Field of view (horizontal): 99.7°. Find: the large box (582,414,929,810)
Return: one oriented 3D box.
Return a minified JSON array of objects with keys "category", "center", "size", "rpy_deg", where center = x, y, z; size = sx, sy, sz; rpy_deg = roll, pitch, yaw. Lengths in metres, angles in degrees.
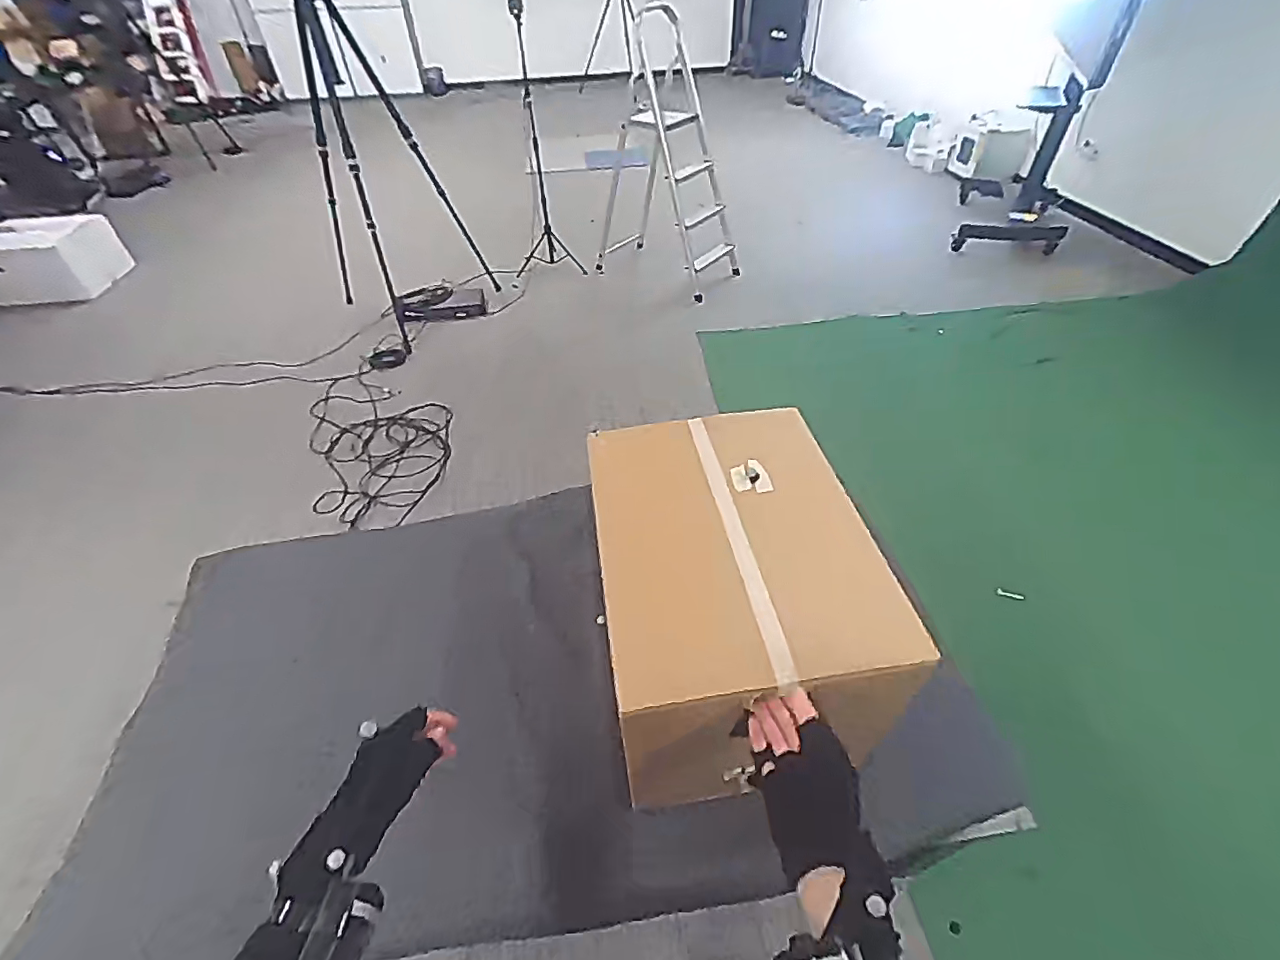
[{"category":"large box","center":[0.107,0.165,0.746],"size":[0.320,0.320,0.408],"rpy_deg":[-7,43,-5]}]
